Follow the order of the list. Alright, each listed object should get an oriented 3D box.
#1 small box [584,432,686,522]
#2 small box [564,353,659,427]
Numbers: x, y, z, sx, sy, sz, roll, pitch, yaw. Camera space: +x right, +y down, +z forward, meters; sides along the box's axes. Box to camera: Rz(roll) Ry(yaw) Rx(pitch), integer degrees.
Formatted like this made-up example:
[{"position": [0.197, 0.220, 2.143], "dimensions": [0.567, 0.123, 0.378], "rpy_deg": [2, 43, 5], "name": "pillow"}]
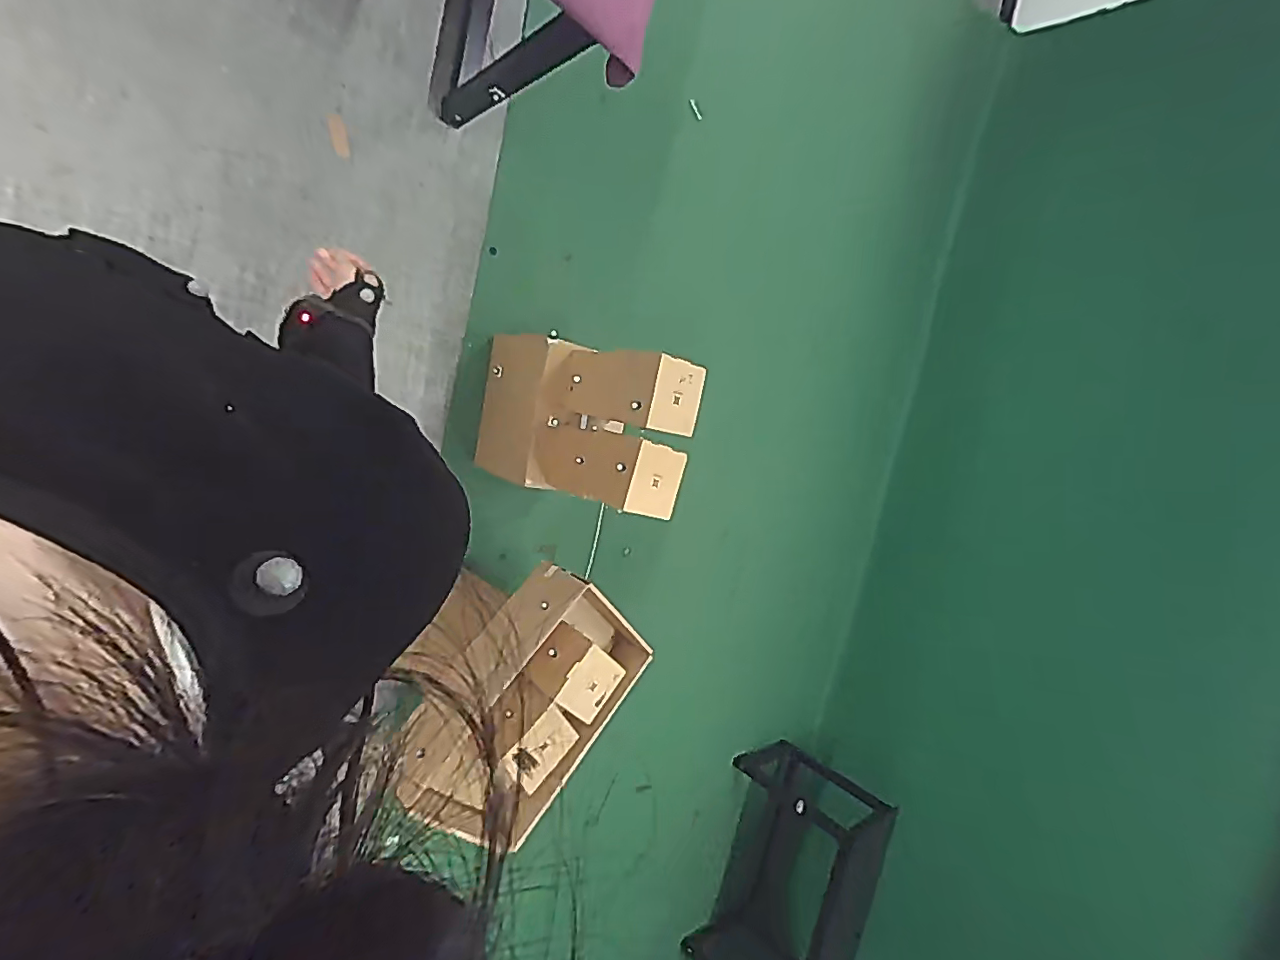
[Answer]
[{"position": [-0.017, -0.009, 1.353], "dimensions": [0.168, 0.176, 0.179], "rpy_deg": [16, 90, -43], "name": "small box"}, {"position": [-0.079, -0.245, 1.455], "dimensions": [0.179, 0.176, 0.168], "rpy_deg": [3, 100, -43], "name": "small box"}]
